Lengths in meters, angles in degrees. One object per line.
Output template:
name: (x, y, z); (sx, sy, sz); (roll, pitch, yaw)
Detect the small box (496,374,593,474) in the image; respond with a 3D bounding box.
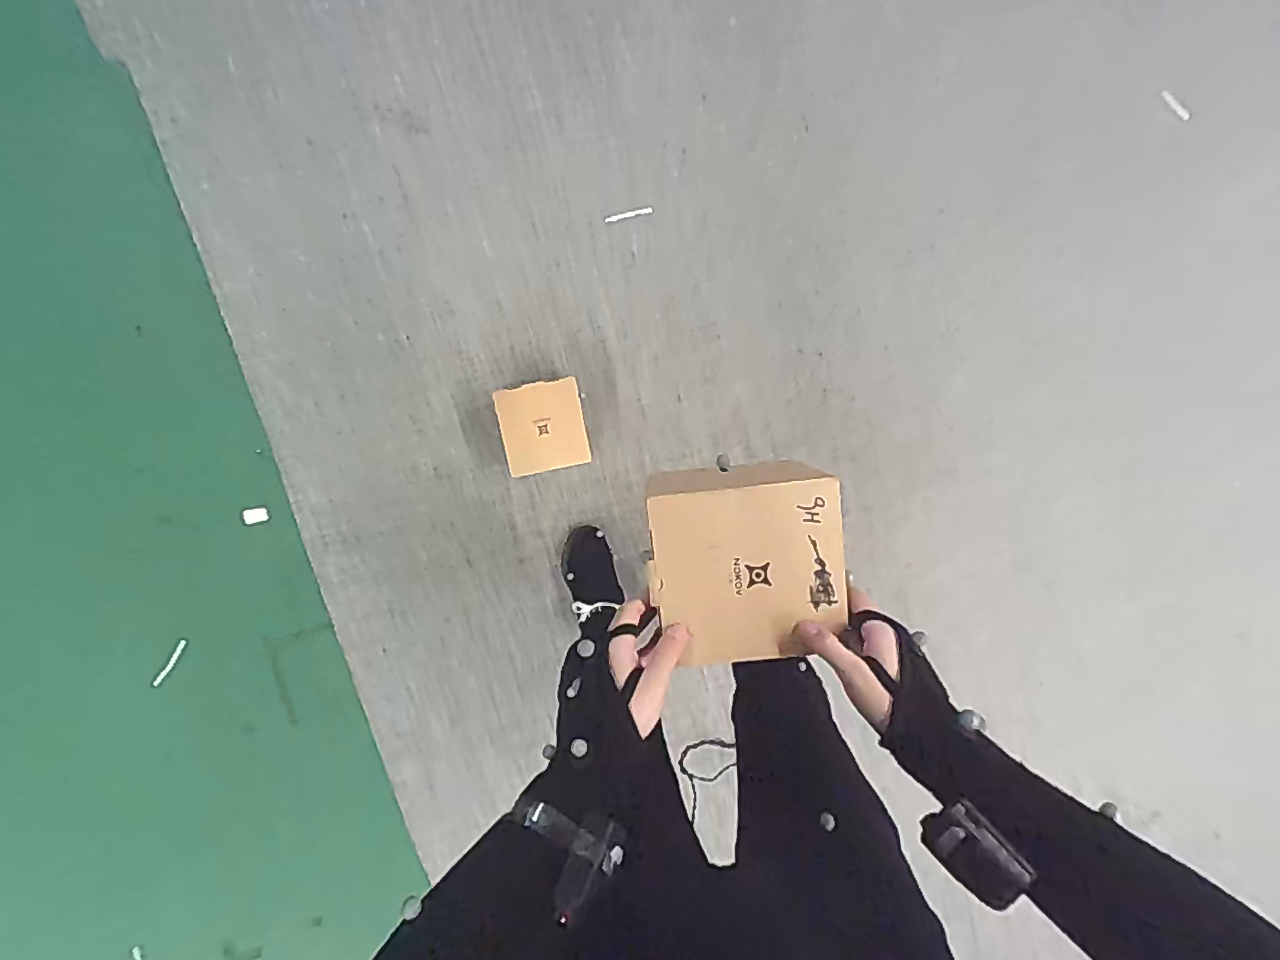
small box: (-0.196, -0.120, 1.156); (0.168, 0.176, 0.179); (-13, 97, -6)

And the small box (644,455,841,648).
small box: (0.102, 0.066, 0.584); (0.179, 0.176, 0.168); (-5, 97, 3)
